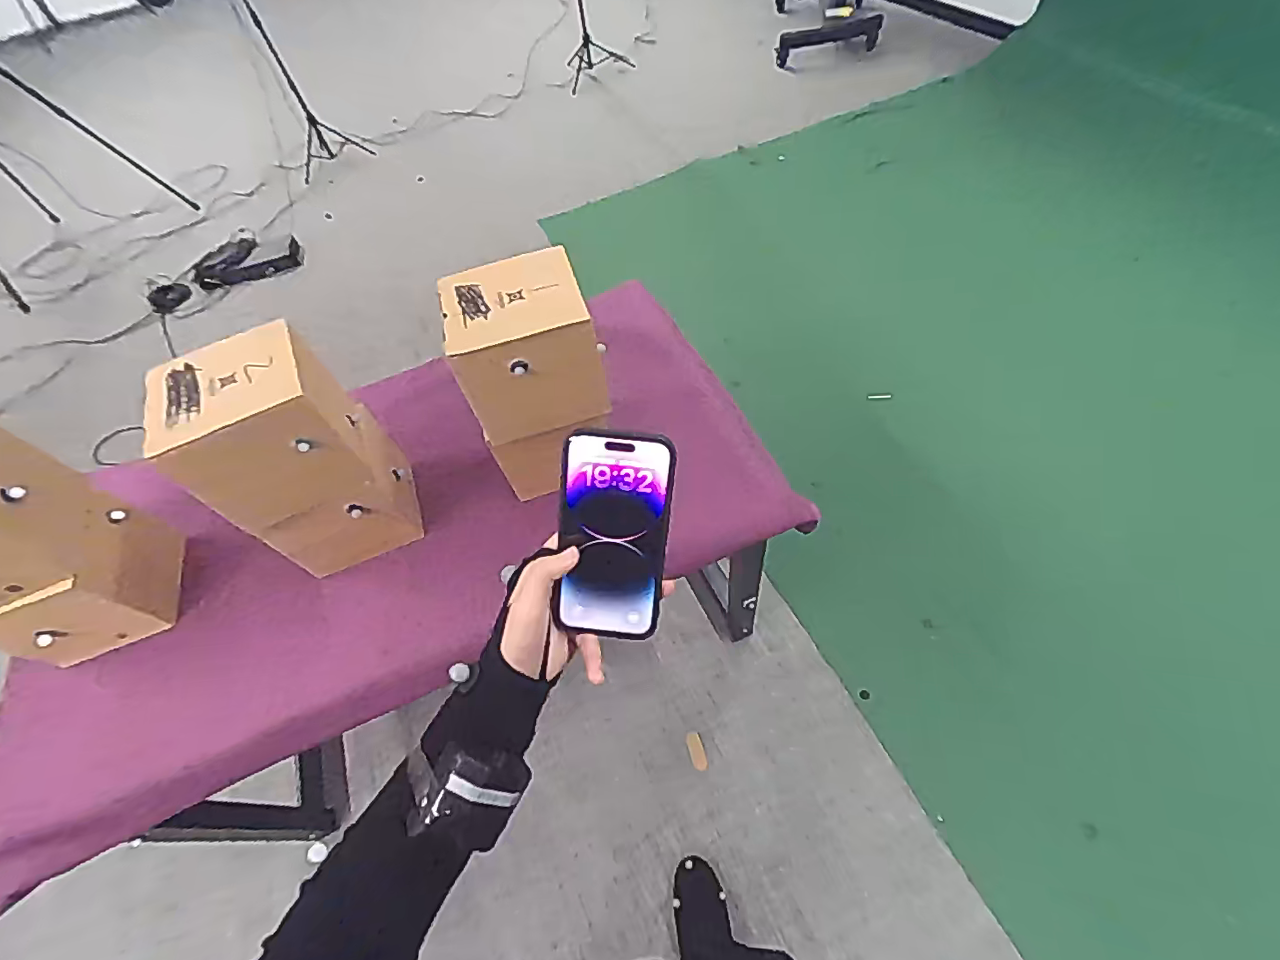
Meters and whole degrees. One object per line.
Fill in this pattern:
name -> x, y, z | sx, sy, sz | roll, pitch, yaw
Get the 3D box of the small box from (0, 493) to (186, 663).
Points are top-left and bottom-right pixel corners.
small box -> -0.831, 0.156, 0.809 | 0.168, 0.176, 0.179 | -22, 55, -6

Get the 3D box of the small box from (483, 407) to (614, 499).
small box -> -0.147, -0.095, 0.878 | 0.179, 0.176, 0.168 | -18, 55, -3

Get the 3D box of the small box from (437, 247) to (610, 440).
small box -> -0.154, -0.179, 0.736 | 0.179, 0.176, 0.168 | -17, 55, -4

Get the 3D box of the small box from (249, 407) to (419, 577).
small box -> -0.465, 0.022, 0.843 | 0.179, 0.176, 0.168 | -22, 55, -7

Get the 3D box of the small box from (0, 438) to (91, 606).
small box -> -0.855, 0.057, 0.680 | 0.168, 0.176, 0.179 | -26, 57, -10
